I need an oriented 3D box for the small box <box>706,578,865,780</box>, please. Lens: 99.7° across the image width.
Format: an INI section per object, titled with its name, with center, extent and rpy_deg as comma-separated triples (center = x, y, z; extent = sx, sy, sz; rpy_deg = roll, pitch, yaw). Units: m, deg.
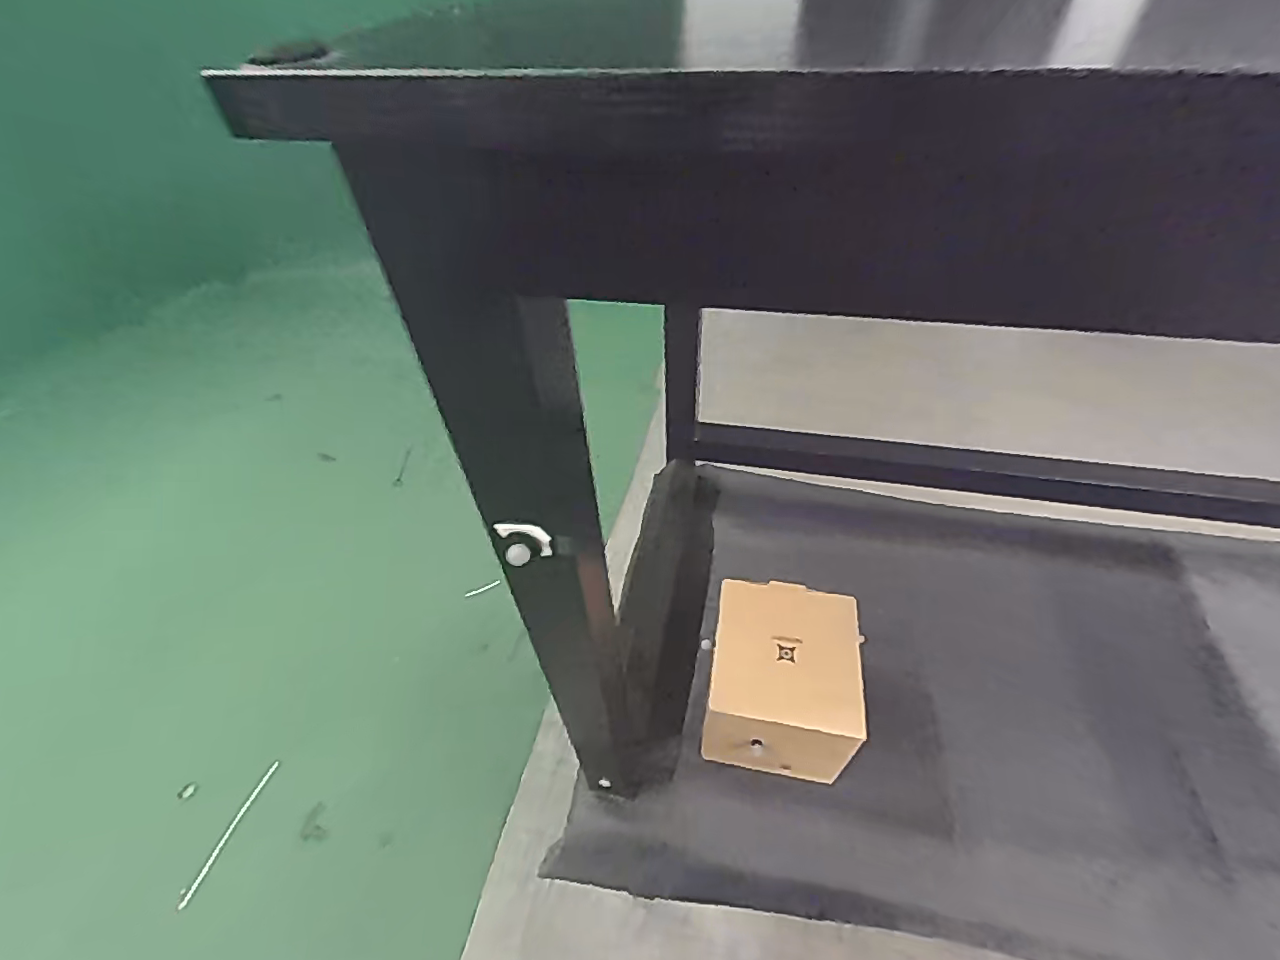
[small box]
center = 0.175, 0.252, 0.682
extent = 0.168, 0.176, 0.179
rpy_deg = 7, 46, 10
